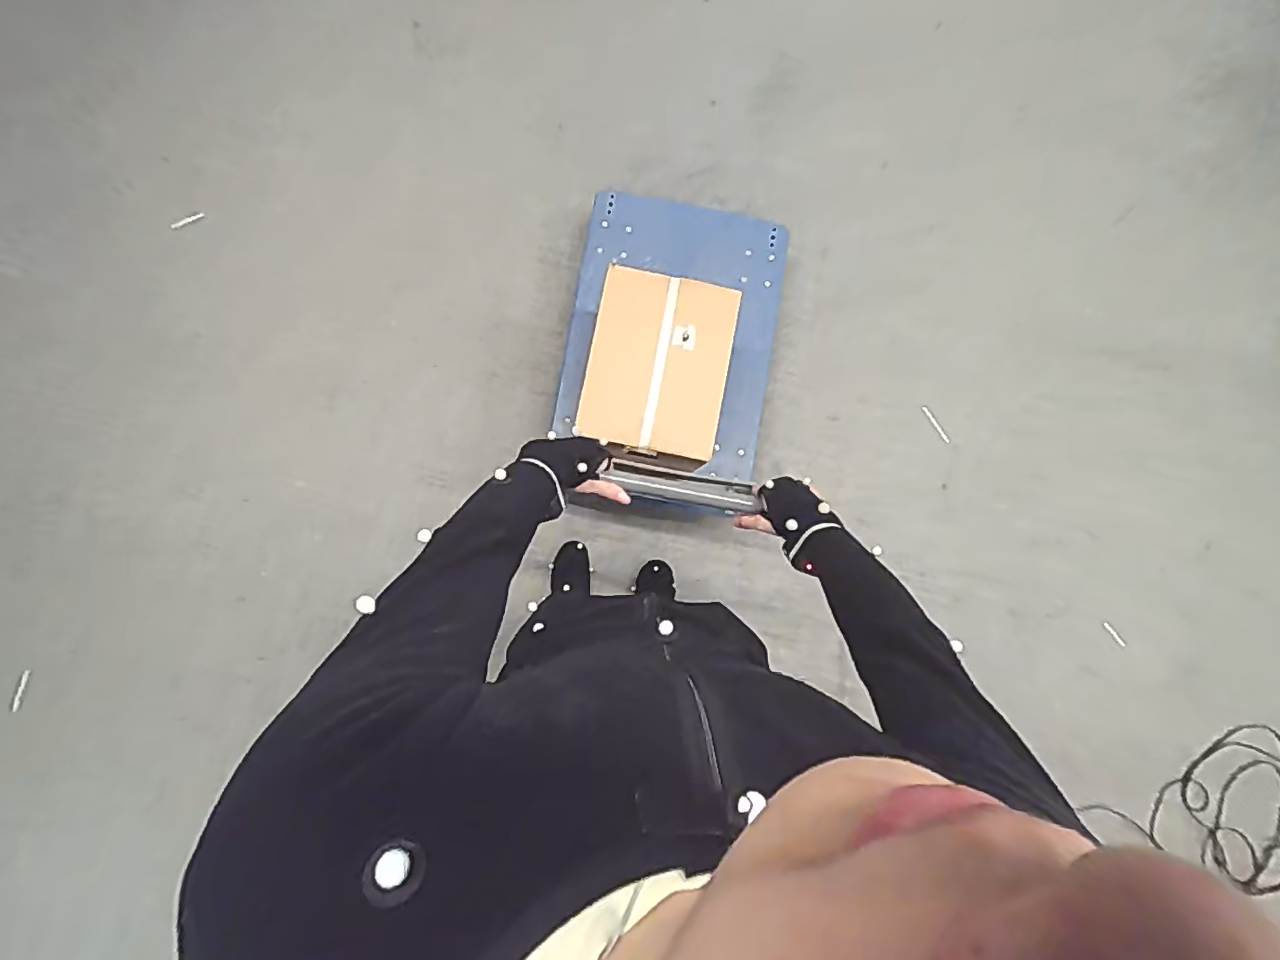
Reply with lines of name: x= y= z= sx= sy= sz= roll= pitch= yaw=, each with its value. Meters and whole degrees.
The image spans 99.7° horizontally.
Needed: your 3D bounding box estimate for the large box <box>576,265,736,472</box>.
large box: x=0.031 y=-0.252 z=1.356 sx=0.320 sy=0.320 sz=0.408 roll=11 pitch=83 yaw=-3
